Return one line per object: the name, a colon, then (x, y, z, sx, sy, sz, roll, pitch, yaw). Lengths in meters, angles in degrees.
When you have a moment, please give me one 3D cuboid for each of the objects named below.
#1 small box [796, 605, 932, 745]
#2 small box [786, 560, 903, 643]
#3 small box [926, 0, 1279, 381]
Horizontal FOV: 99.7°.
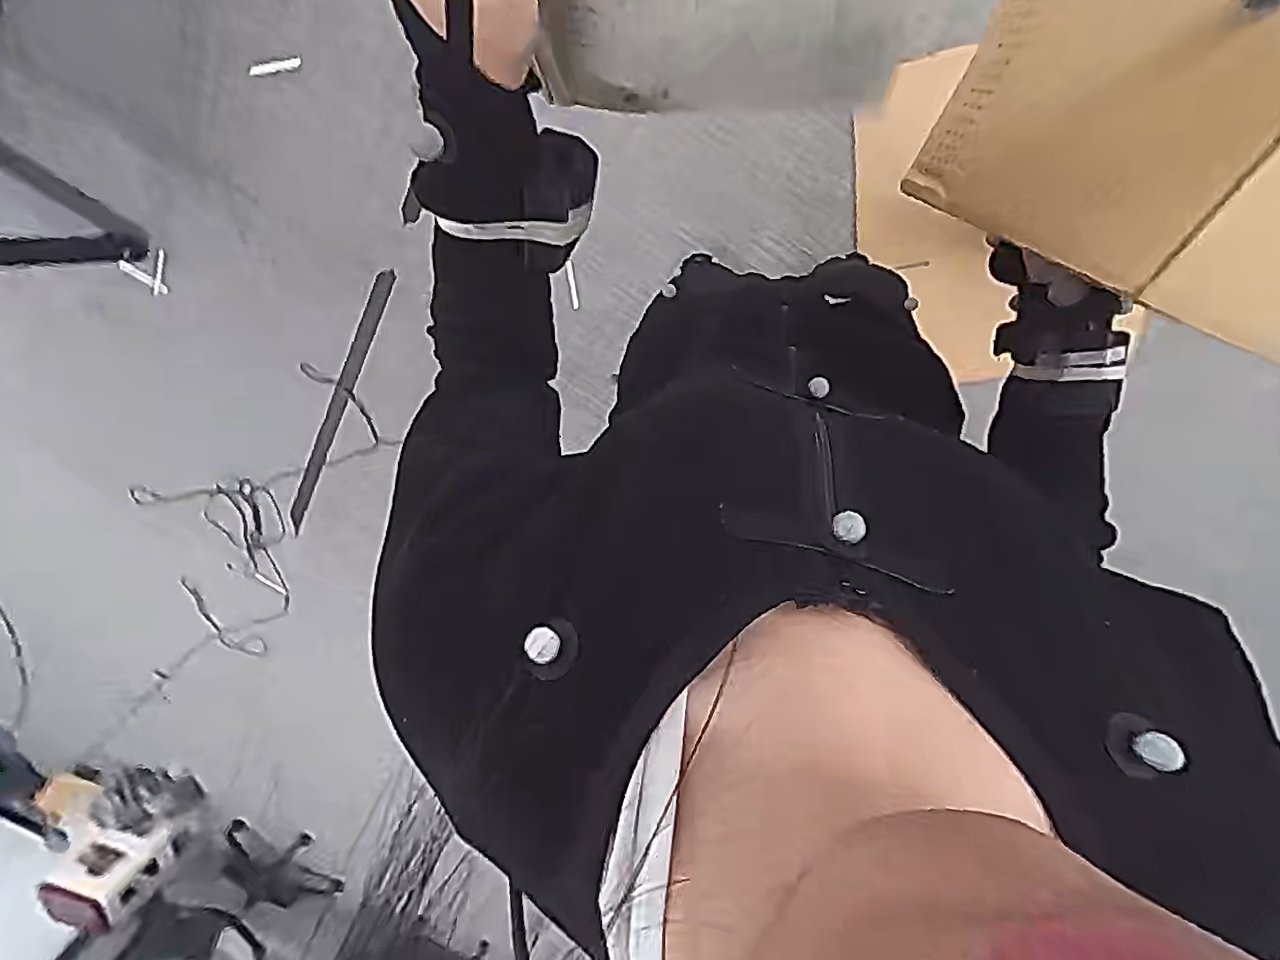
small box: (0.432, 0.378, 1.081, 0.179, 0.176, 0.168, 36, 116, -5)
small box: (0.452, 0.306, 1.227, 0.179, 0.176, 0.168, 38, 115, -8)
small box: (0.266, -0.166, 0.238, 0.168, 0.176, 0.179, 9, 126, -20)
